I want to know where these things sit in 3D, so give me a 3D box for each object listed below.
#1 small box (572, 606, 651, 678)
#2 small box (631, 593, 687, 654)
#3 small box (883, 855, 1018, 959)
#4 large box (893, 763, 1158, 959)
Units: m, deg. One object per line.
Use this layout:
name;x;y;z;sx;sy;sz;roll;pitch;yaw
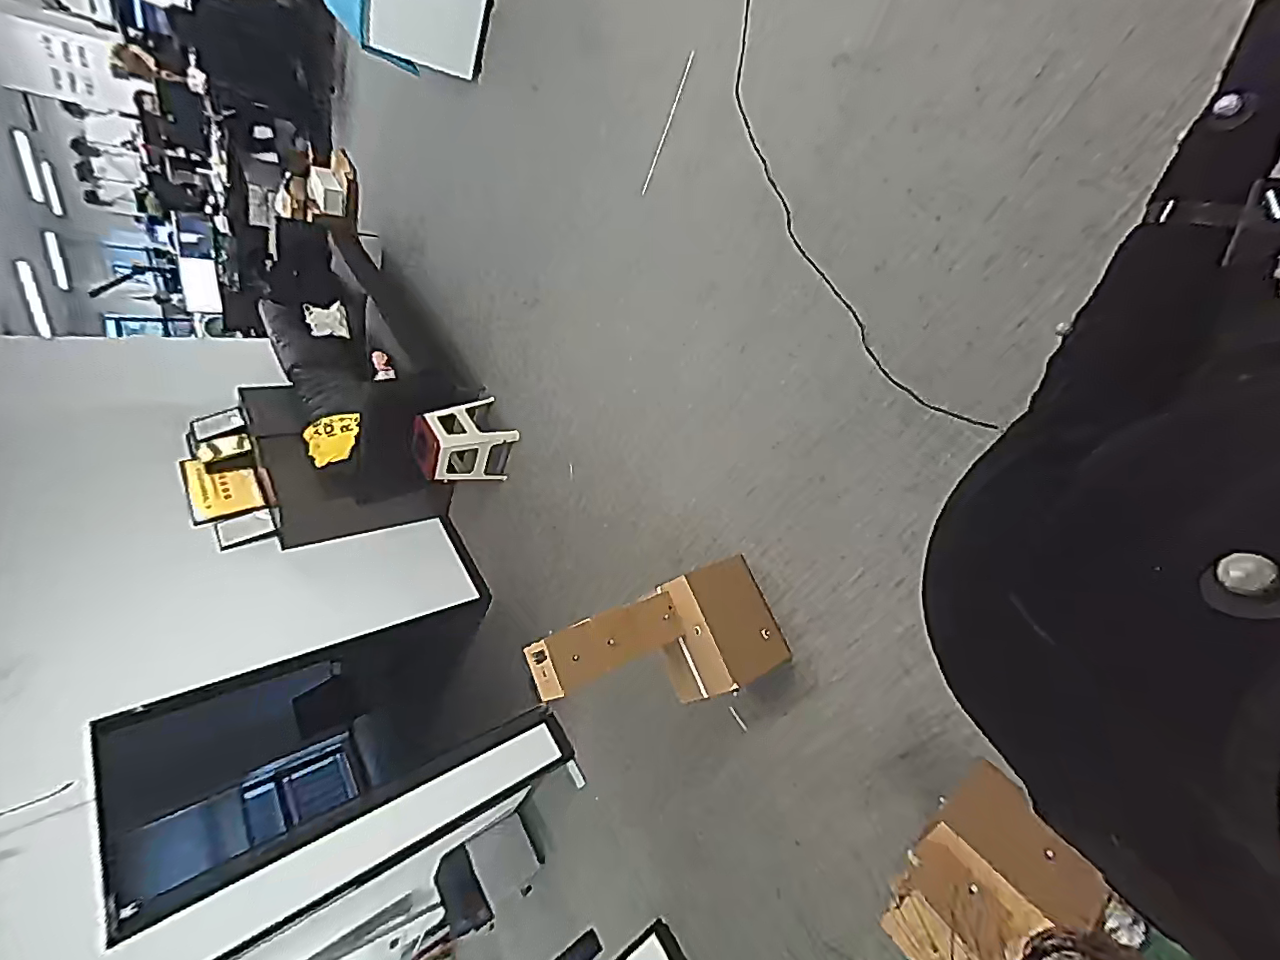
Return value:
small box;-0.094;0.531;1.789;0.168;0.176;0.179;-39;70;48
small box;0.033;0.513;1.888;0.179;0.176;0.168;-40;68;48
small box;0.699;0.993;1.218;0.179;0.176;0.168;44;129;35
large box;0.931;1.014;1.335;0.408;0.320;0.320;38;127;36
